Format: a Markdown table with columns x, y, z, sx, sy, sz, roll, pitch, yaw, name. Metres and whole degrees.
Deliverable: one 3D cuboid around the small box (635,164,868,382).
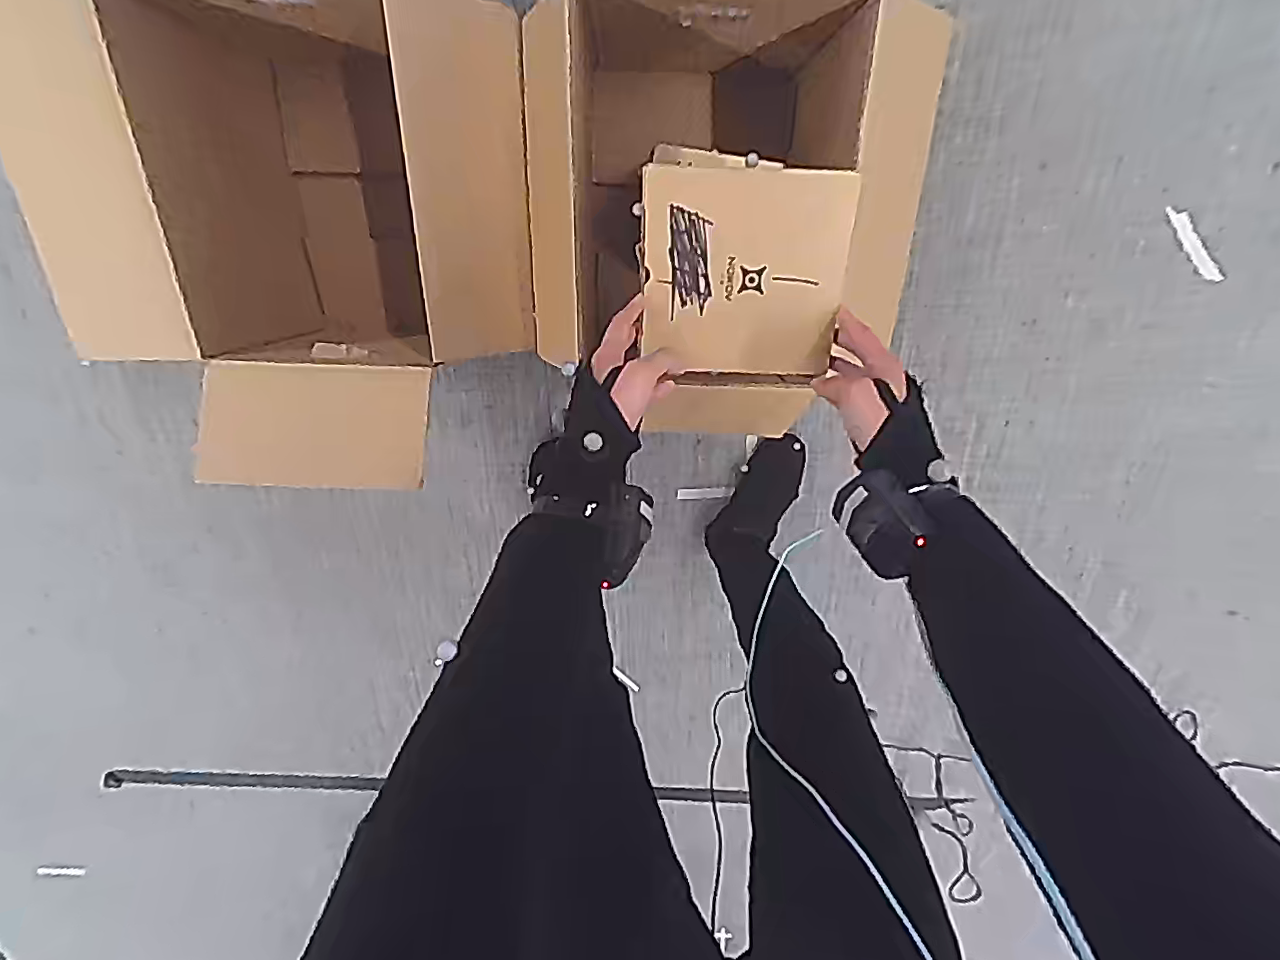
| x | y | z | sx | sy | sz | roll | pitch | yaw | name |
| --- | --- | --- | --- | --- | --- | --- | --- | --- | --- |
| 0.088 | -0.201 | 0.522 | 0.179 | 0.176 | 0.168 | 2 | 117 | 0 | small box |
